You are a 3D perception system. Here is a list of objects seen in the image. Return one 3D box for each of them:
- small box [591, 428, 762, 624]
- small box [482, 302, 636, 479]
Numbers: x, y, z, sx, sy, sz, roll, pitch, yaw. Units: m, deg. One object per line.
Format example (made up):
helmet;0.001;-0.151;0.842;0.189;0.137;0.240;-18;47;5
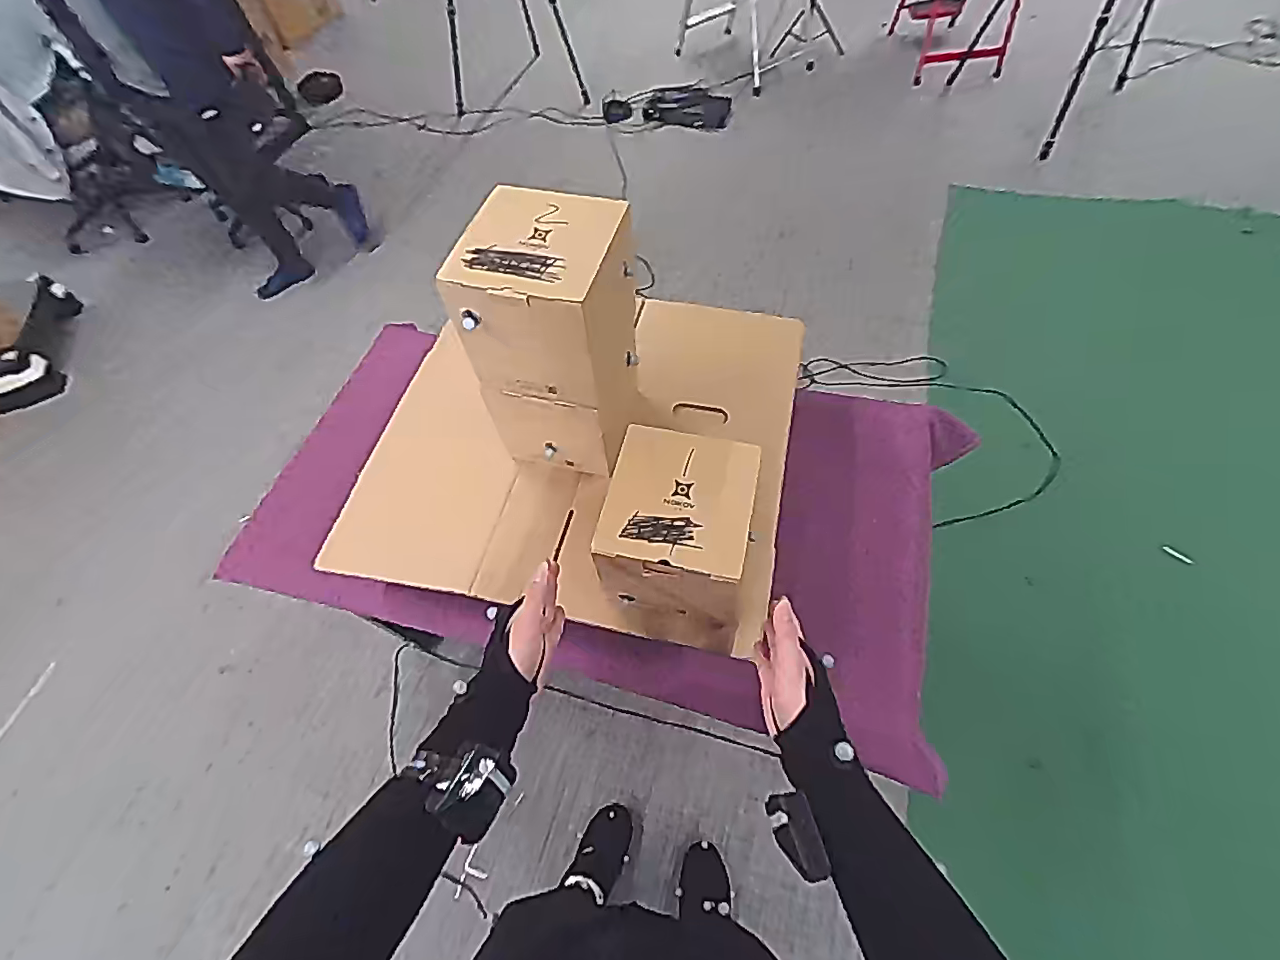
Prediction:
small box;0.049;0.063;0.677;0.168;0.176;0.179;11;60;9
small box;-0.105;-0.128;0.796;0.168;0.176;0.179;12;61;9
